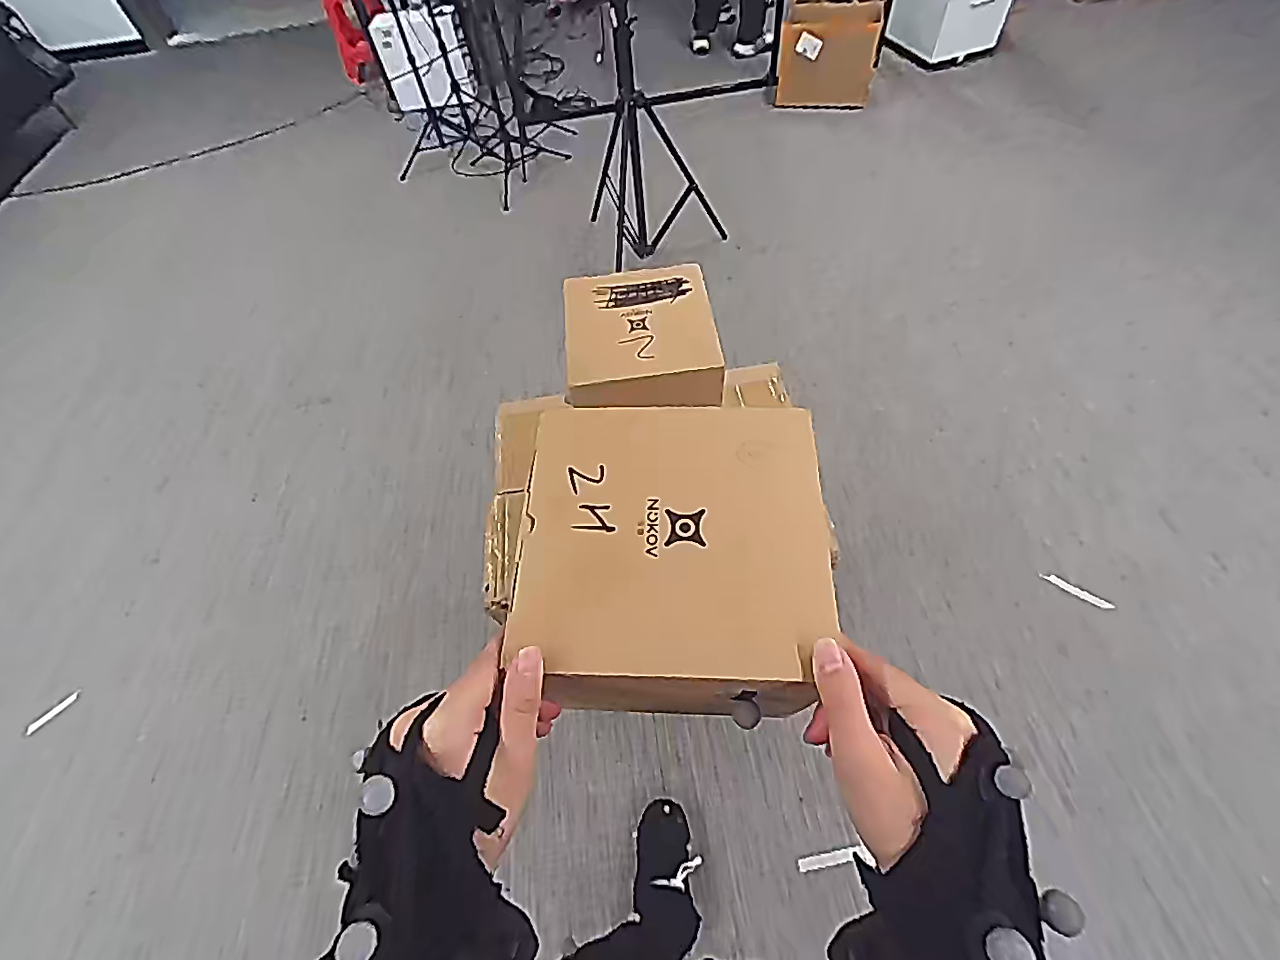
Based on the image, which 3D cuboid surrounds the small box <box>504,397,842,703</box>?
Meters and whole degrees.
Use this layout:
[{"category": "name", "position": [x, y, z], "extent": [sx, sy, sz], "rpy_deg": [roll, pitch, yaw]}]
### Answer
[{"category": "small box", "position": [0.024, 0.058, 0.382], "extent": [0.179, 0.176, 0.168], "rpy_deg": [0, 61, 5]}]

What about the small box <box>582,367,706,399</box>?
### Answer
[{"category": "small box", "position": [0.016, -0.042, 0.808], "extent": [0.179, 0.176, 0.168], "rpy_deg": [-7, 56, 0]}]
